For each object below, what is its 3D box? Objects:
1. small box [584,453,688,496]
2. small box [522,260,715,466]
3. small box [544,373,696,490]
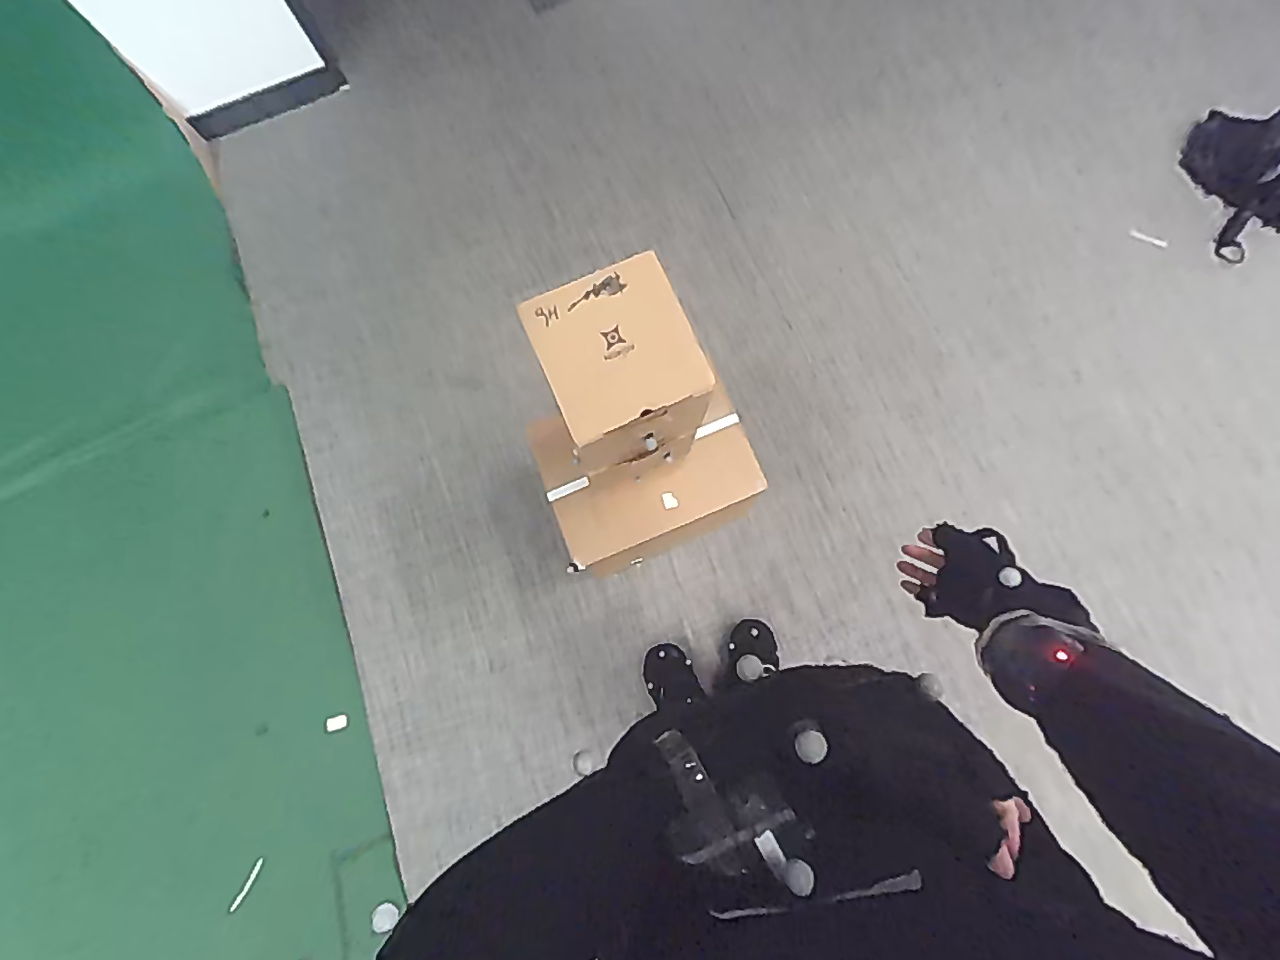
[{"bbox_3d":[-0.023,-0.079,0.987,0.179,0.176,0.168,-16,80,-1],"label":"small box"},{"bbox_3d":[-0.022,-0.127,0.668,0.168,0.176,0.179,-24,82,-3],"label":"small box"},{"bbox_3d":[-0.026,-0.094,0.829,0.168,0.176,0.179,-24,80,-3],"label":"small box"}]
